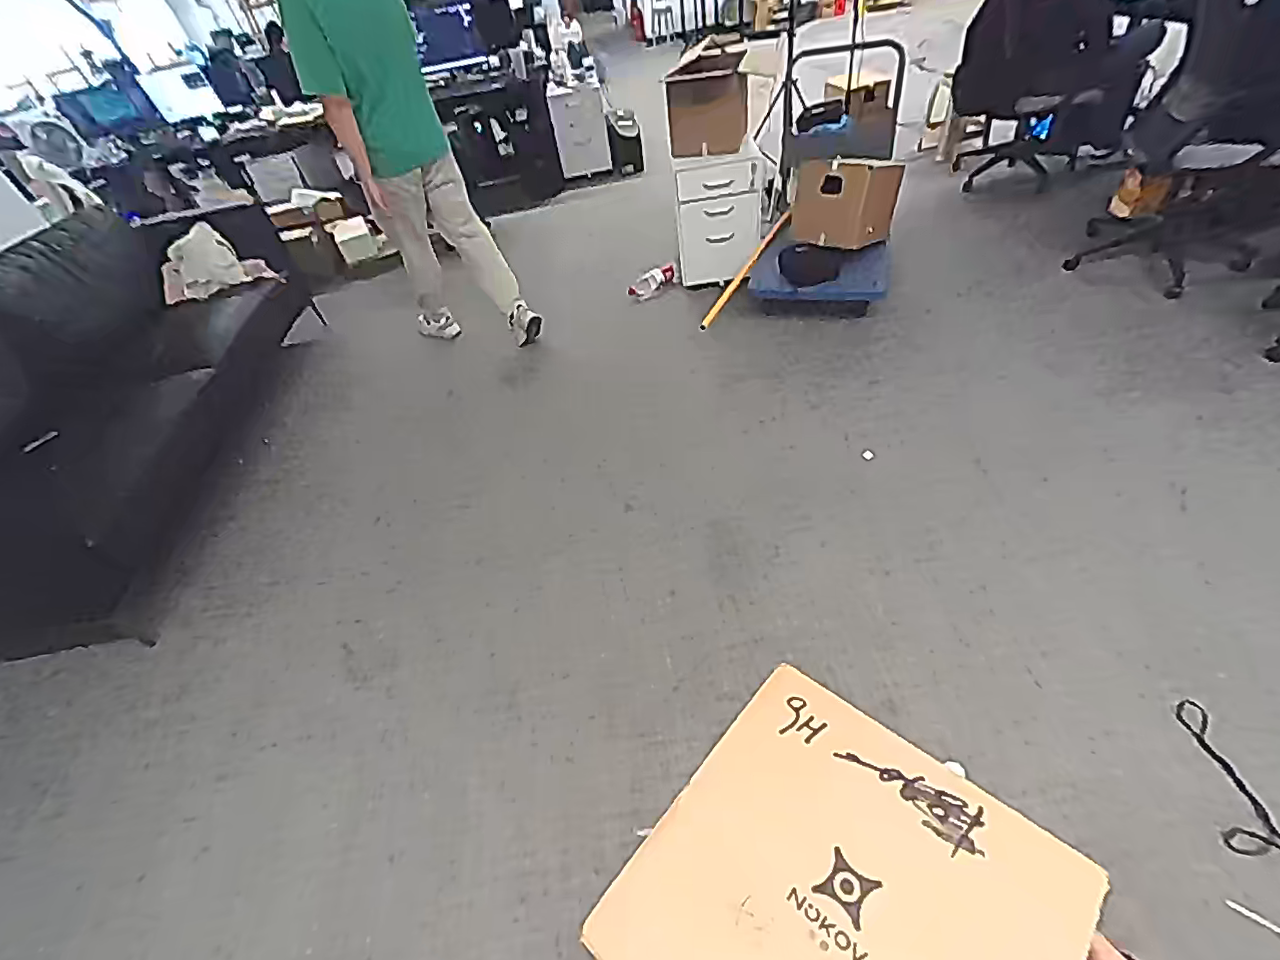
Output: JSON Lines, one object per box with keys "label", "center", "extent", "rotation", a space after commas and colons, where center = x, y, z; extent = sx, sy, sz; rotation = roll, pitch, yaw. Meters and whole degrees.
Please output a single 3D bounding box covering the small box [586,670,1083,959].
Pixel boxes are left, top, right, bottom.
{"label": "small box", "center": [0.102, 0.256, 0.307], "extent": [0.168, 0.176, 0.179], "rotation": [27, 55, 36]}
